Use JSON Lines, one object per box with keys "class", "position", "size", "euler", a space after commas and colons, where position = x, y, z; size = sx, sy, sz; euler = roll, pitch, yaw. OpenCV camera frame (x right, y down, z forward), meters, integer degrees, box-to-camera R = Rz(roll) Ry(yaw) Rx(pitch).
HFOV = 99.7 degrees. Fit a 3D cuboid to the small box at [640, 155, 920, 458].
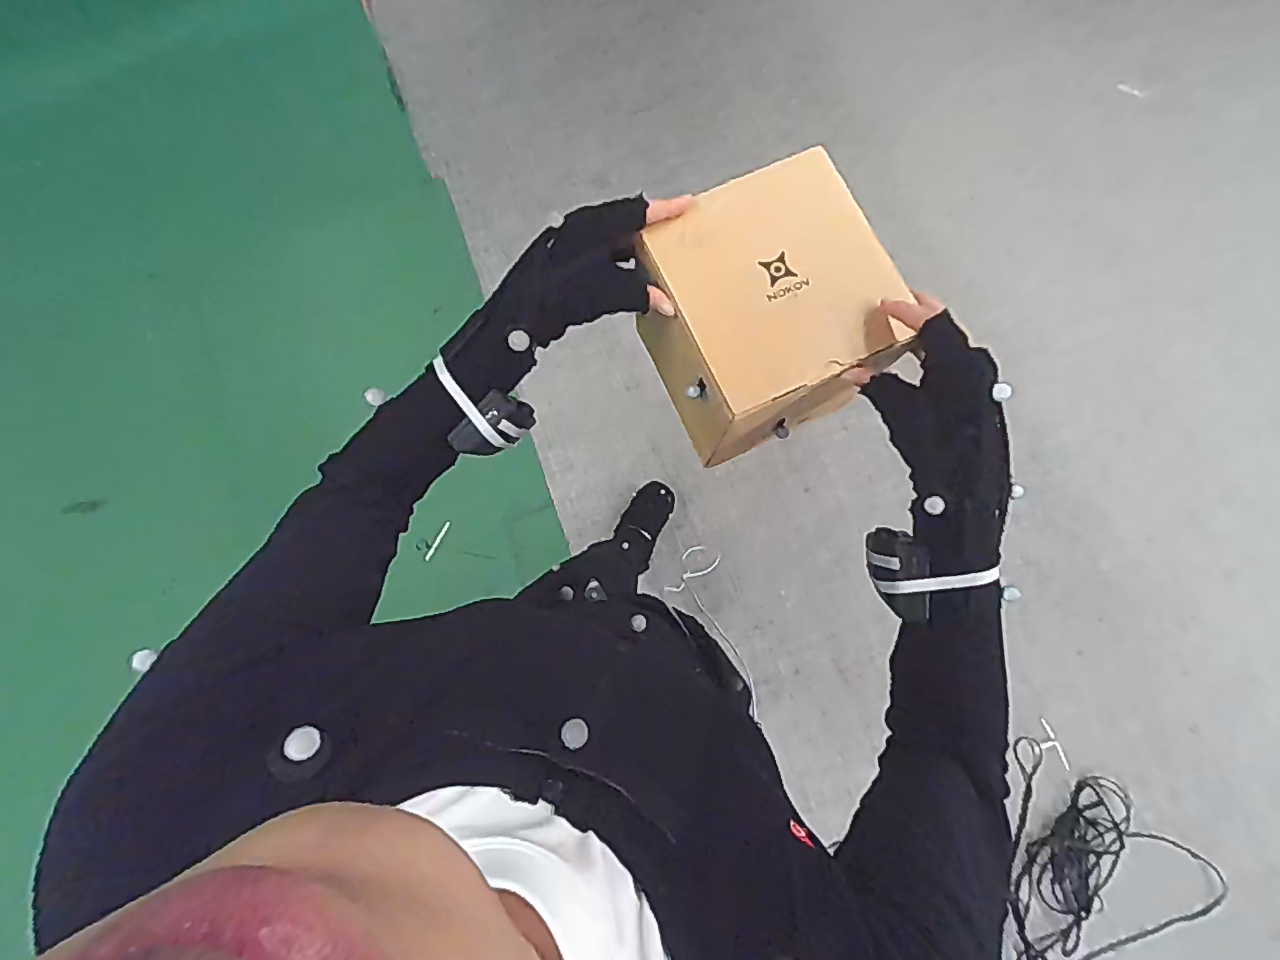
{"class": "small box", "position": [0.104, -0.142, 0.496], "size": [0.168, 0.176, 0.179], "euler": [-24, 81, -5]}
